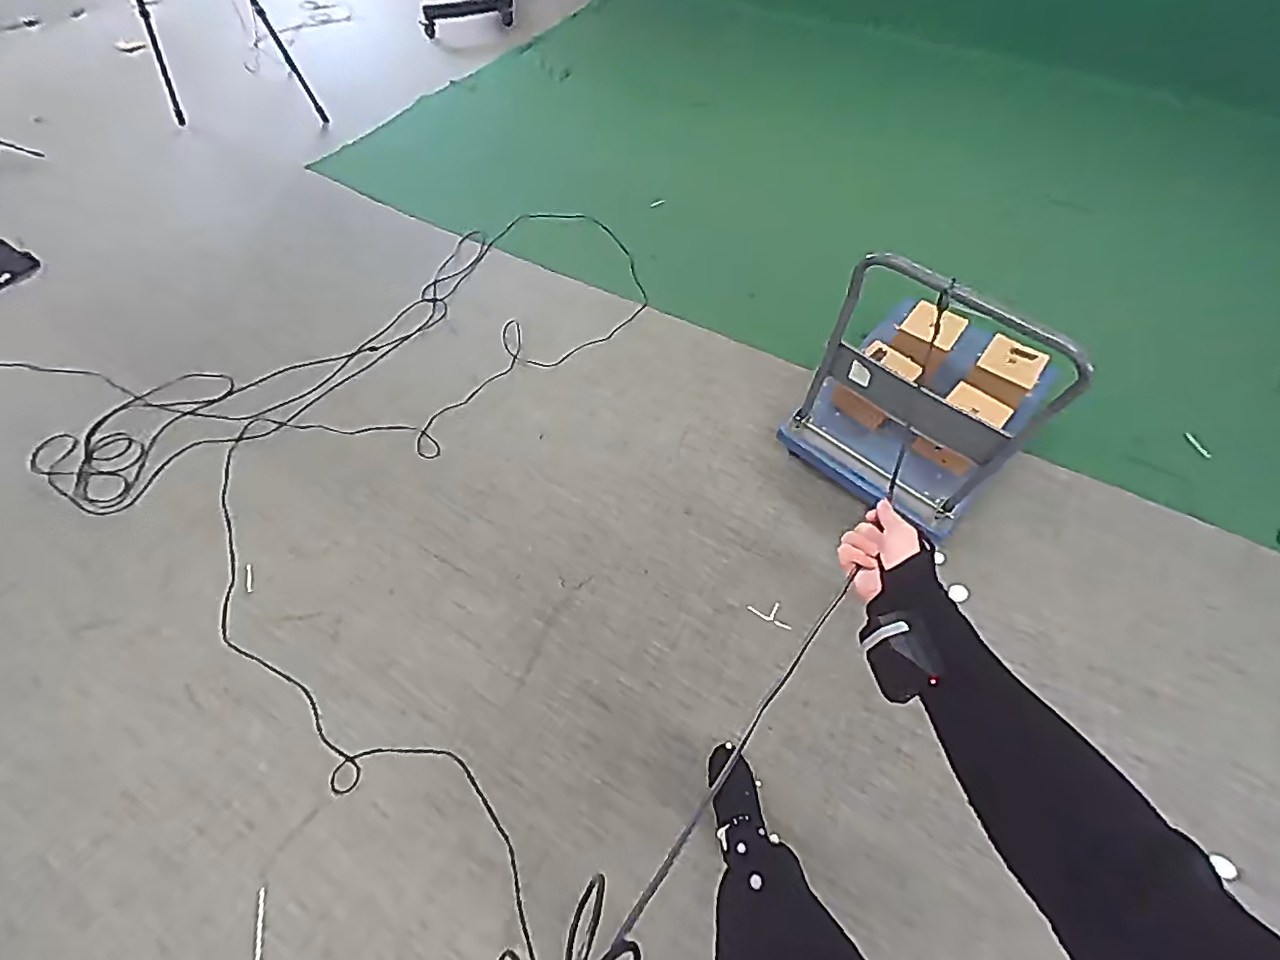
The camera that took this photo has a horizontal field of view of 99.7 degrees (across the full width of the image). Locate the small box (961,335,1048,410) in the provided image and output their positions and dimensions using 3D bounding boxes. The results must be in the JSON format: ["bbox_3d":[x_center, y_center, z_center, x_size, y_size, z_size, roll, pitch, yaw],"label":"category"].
[{"bbox_3d":[1.138,-0.321,1.718,0.168,0.176,0.179,34,65,21],"label":"small box"}]

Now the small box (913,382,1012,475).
[{"bbox_3d":[0.954,-0.150,1.616,0.168,0.176,0.179,39,66,22],"label":"small box"}]

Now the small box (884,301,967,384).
[{"bbox_3d":[0.942,-0.454,1.803,0.168,0.176,0.179,35,64,19],"label":"small box"}]
